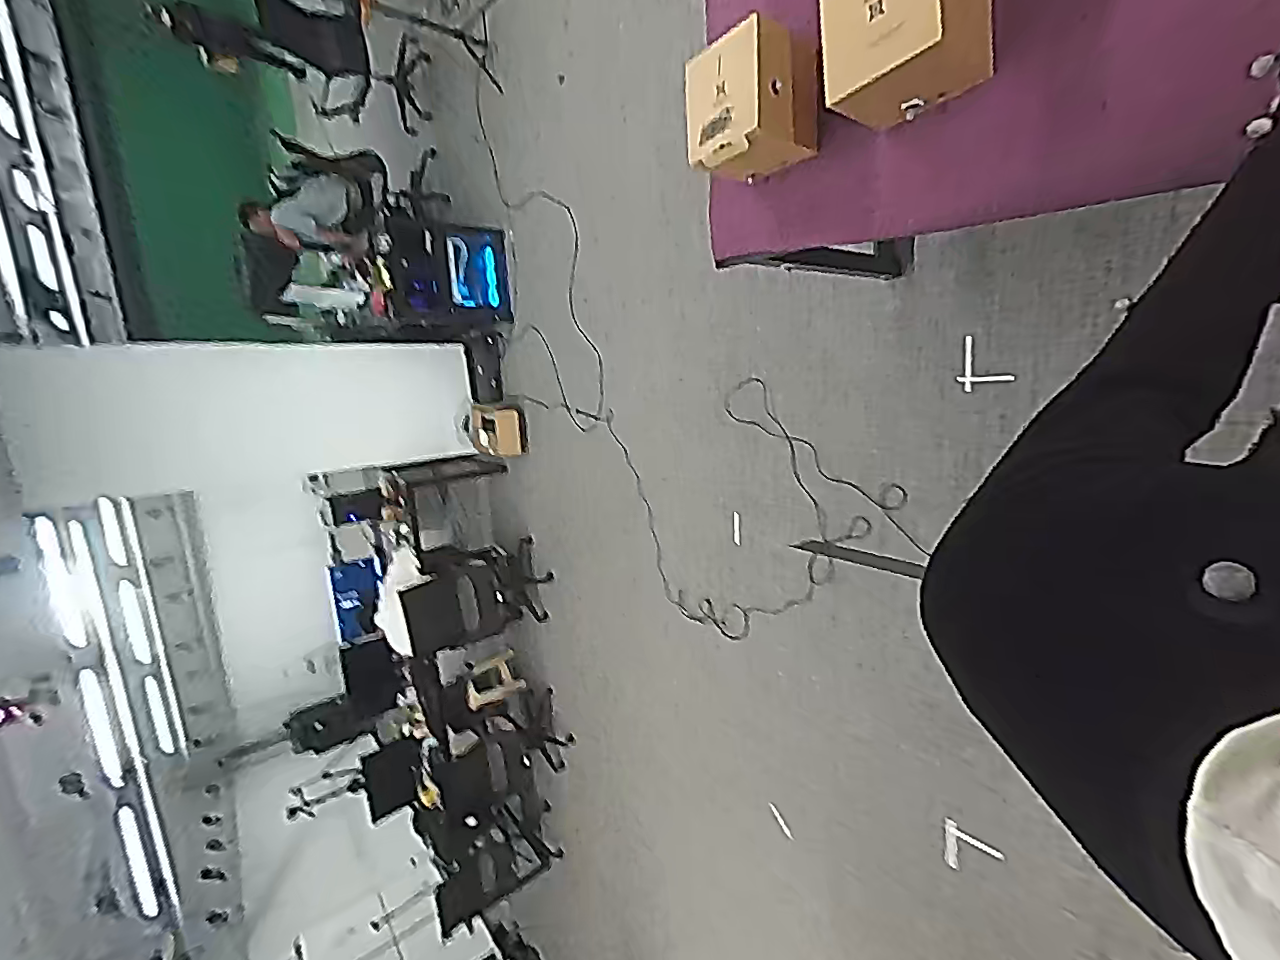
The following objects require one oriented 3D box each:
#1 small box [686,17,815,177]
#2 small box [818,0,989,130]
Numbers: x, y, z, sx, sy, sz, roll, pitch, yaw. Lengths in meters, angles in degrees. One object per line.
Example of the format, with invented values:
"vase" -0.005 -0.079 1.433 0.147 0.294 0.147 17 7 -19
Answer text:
"small box" 0.202 -0.672 0.981 0.168 0.176 0.179 7 103 51
"small box" 0.375 -0.643 0.770 0.168 0.176 0.179 3 101 53
